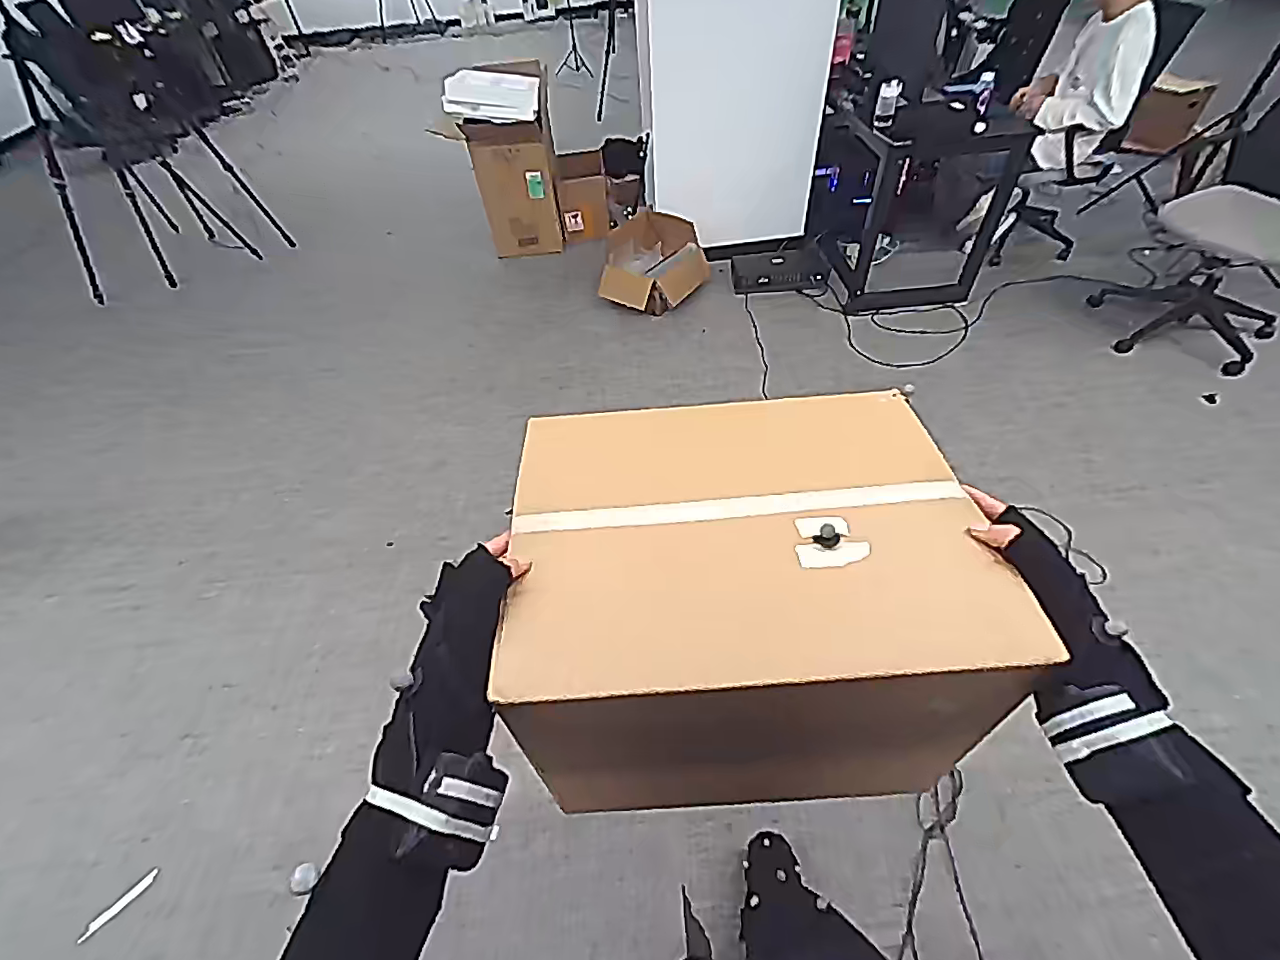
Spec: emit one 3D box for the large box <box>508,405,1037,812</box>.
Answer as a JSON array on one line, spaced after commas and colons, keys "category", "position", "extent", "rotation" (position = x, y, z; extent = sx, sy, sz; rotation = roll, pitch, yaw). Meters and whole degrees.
[{"category": "large box", "position": [0.097, 0.144, 0.606], "extent": [0.408, 0.320, 0.320], "rotation": [-5, 45, 1]}]
